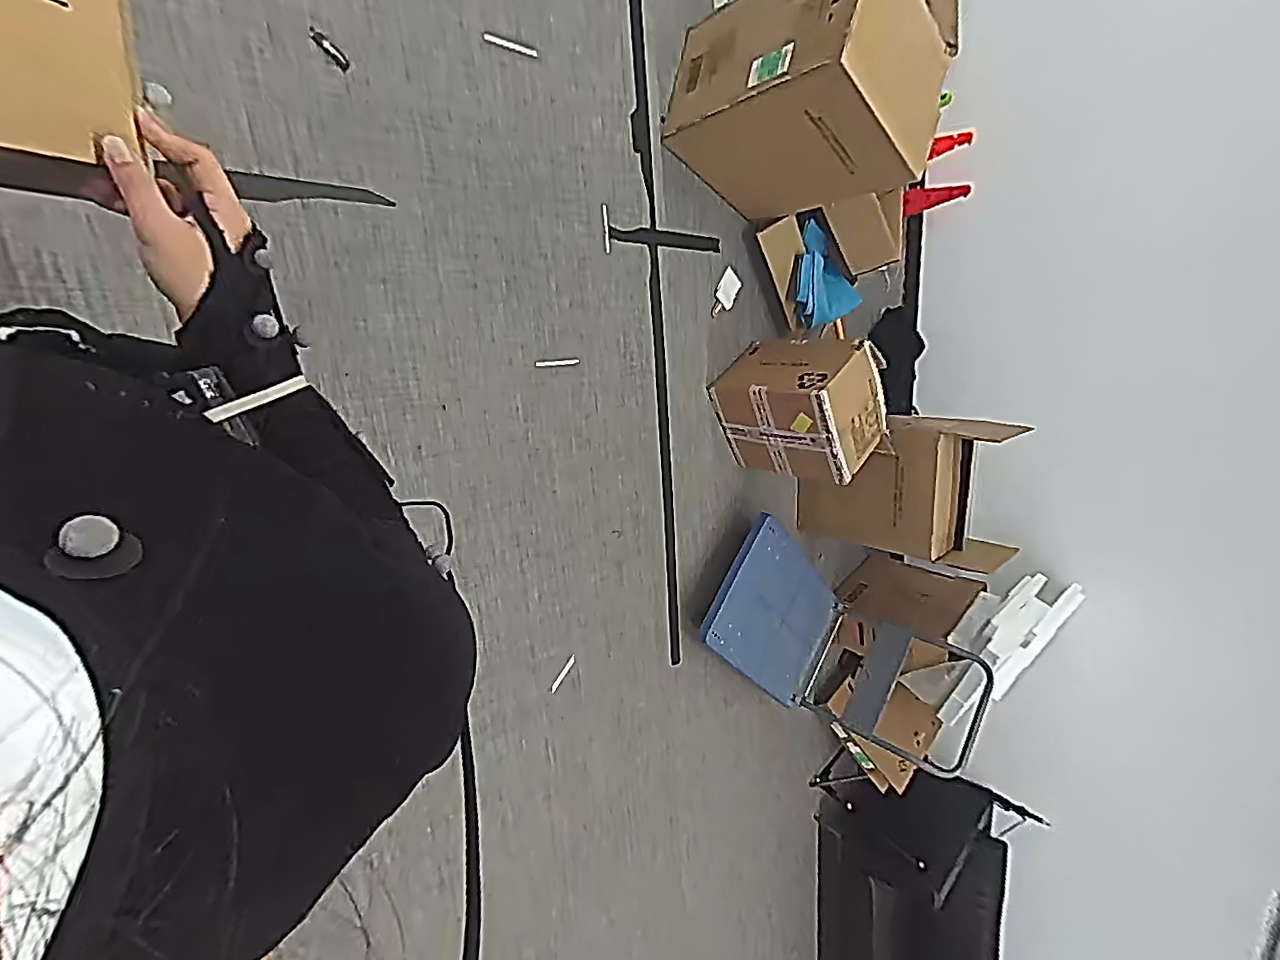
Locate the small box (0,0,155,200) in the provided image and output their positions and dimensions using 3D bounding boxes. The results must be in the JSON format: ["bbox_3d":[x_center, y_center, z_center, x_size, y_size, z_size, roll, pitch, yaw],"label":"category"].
[{"bbox_3d":[-0.417,-0.280,0.320,0.179,0.176,0.168,-7,109,-39],"label":"small box"}]
